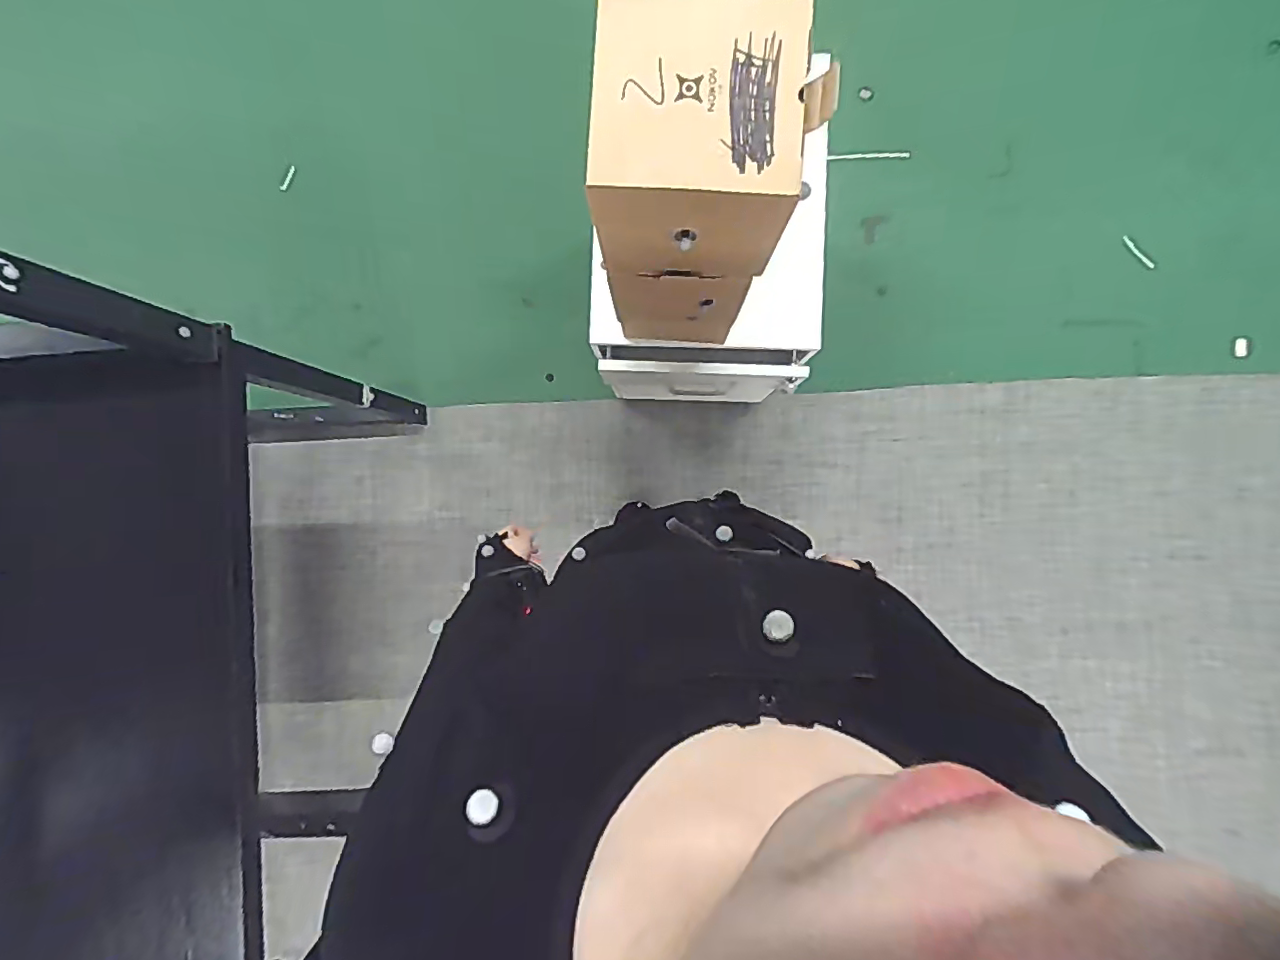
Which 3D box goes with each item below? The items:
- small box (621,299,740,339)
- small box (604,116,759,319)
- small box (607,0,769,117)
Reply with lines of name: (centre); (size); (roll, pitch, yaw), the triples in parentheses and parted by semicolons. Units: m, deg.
small box: (0.061, -0.323, 0.827); (0.179, 0.176, 0.168); (5, 88, 1)
small box: (0.048, -0.307, 0.666); (0.168, 0.176, 0.179); (1, 89, 1)
small box: (0.060, -0.558, 0.669); (0.179, 0.176, 0.168); (5, 89, 1)
